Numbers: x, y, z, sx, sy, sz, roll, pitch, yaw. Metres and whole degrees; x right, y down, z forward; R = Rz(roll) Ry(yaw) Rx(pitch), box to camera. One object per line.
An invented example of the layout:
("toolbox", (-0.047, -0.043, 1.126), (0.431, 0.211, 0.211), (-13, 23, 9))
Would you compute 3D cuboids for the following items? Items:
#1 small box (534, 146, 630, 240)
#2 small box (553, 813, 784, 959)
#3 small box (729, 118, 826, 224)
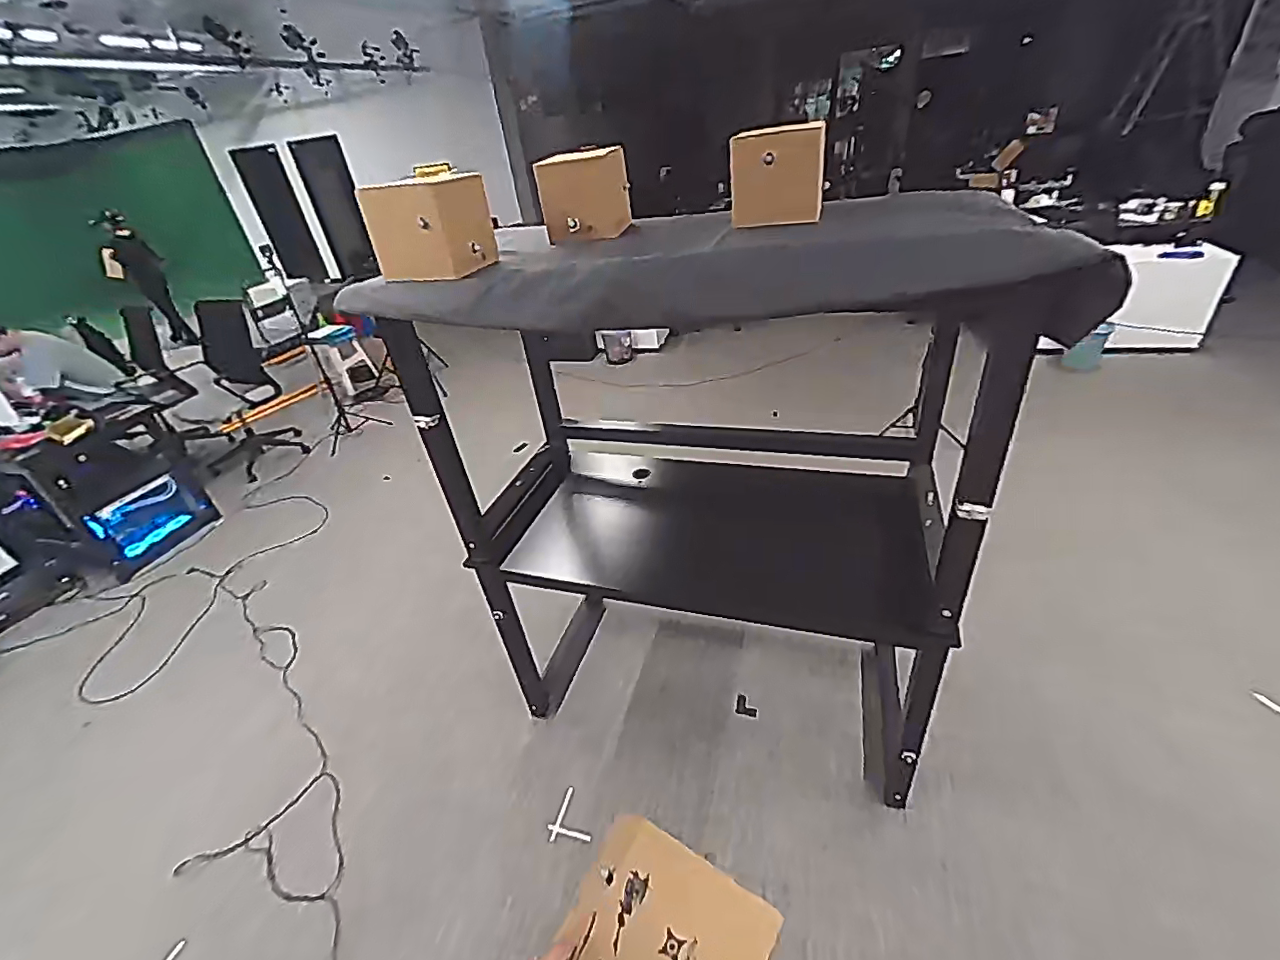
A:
("small box", (-0.125, -0.664, 1.256), (0.168, 0.176, 0.179), (0, 34, 14))
("small box", (0.022, 0.491, 0.594), (0.179, 0.176, 0.168), (31, 58, 5))
("small box", (0.291, -0.646, 1.135), (0.179, 0.176, 0.168), (4, 36, 19))
